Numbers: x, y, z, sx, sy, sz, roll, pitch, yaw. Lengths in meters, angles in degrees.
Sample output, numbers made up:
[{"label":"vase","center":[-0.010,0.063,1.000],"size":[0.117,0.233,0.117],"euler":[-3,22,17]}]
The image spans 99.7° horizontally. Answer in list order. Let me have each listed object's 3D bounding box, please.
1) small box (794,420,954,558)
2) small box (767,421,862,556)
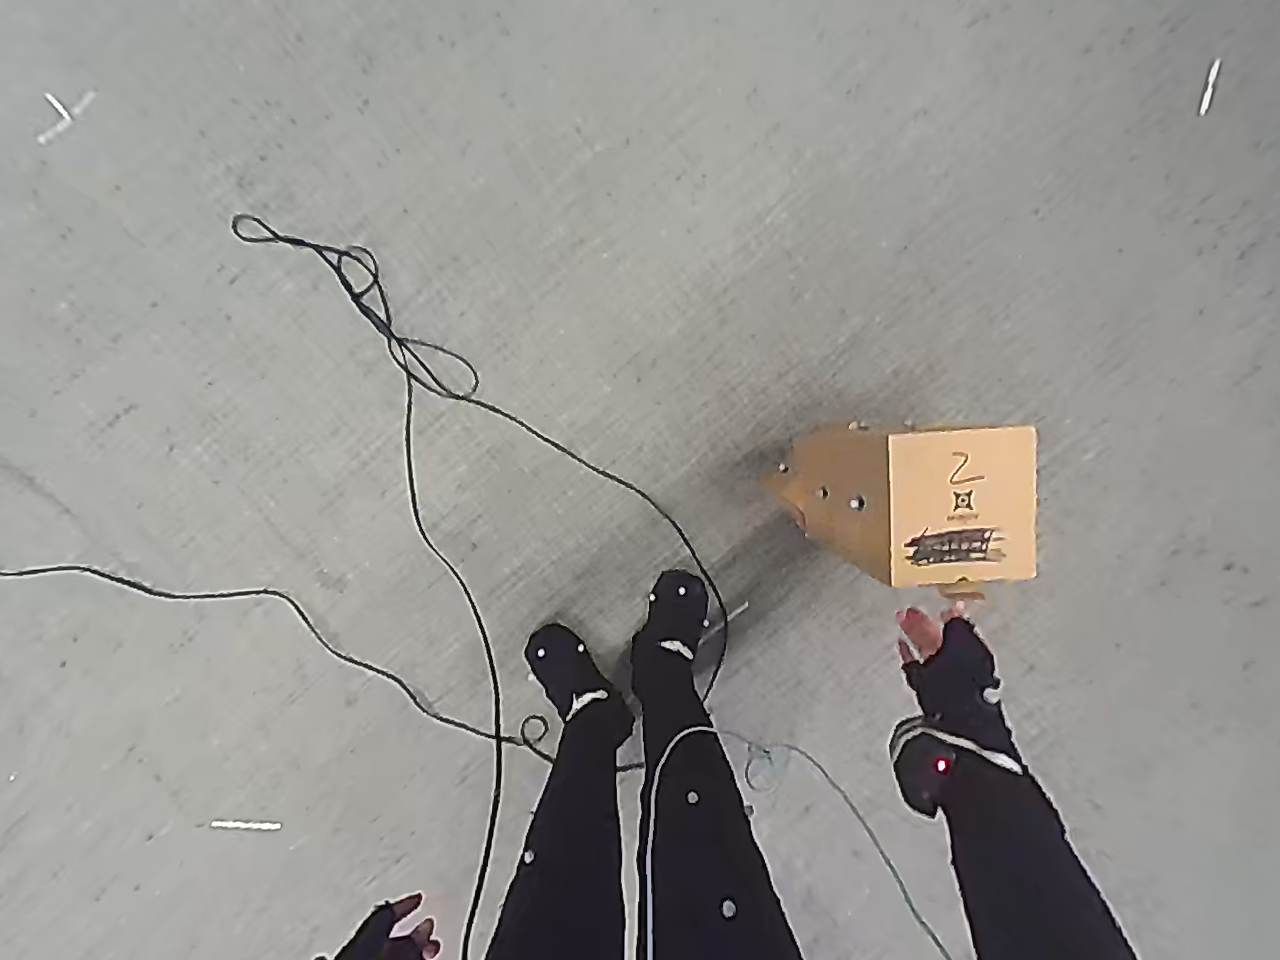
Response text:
[{"label":"small box","center":[0.354,0.007,0.847],"size":[0.168,0.176,0.179],"euler":[-11,96,0]},{"label":"small box","center":[0.355,0.009,0.995],"size":[0.179,0.176,0.168],"euler":[-45,95,2]}]
